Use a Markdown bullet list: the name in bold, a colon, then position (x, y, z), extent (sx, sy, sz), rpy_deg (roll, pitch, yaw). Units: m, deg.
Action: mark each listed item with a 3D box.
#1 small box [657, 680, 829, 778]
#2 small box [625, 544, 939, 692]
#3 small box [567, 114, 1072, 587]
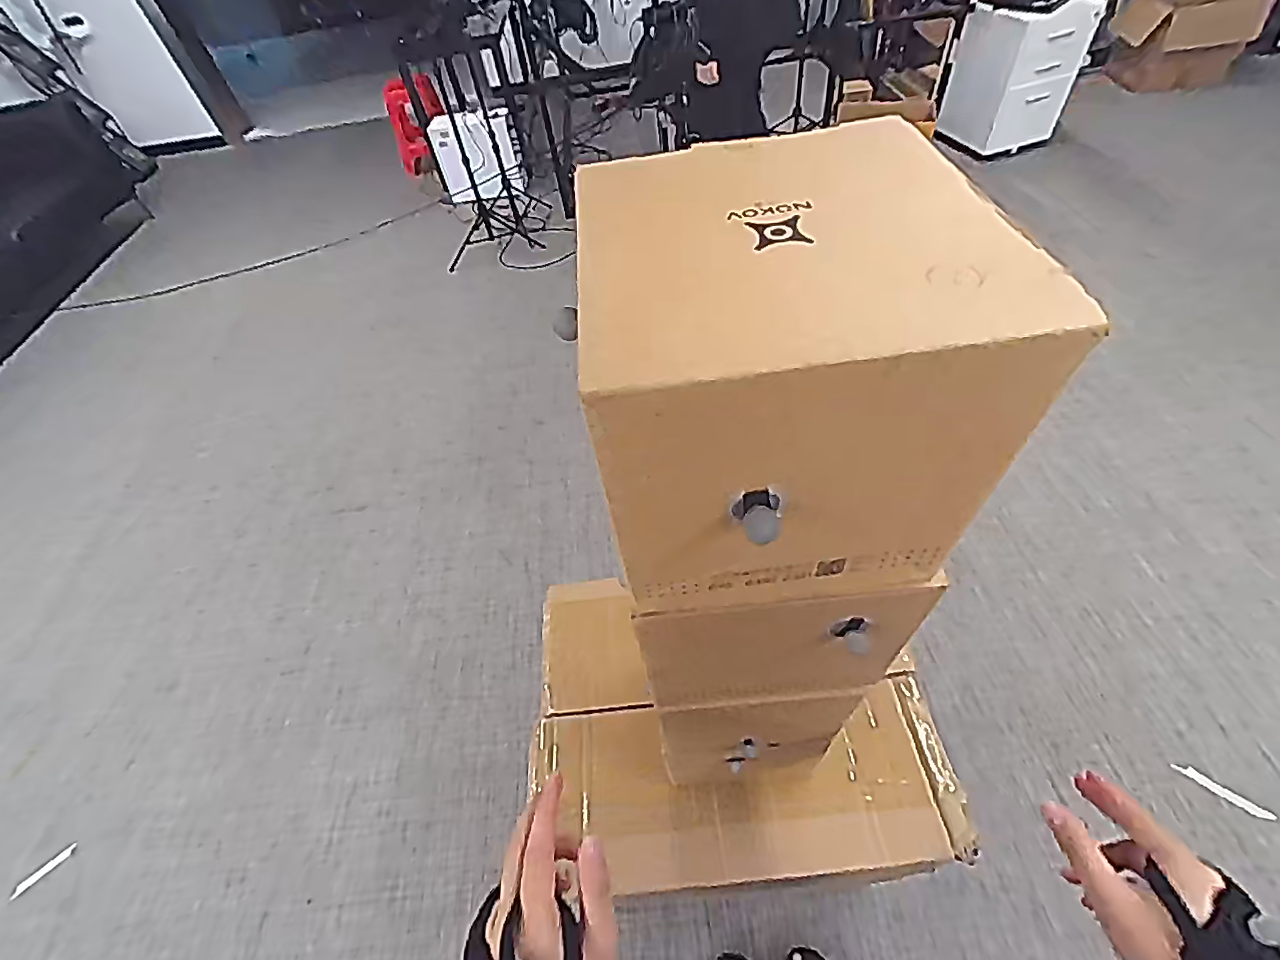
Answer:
- **small box**: position (0.113, 0.255, 0.663), extent (0.179, 0.176, 0.168), rpy_deg (-6, 51, 3)
- **small box**: position (0.082, 0.048, 0.409), extent (0.179, 0.176, 0.168), rpy_deg (-7, 51, 3)
- **small box**: position (0.060, -0.056, 0.286), extent (0.168, 0.176, 0.179), rpy_deg (-8, 51, 2)
